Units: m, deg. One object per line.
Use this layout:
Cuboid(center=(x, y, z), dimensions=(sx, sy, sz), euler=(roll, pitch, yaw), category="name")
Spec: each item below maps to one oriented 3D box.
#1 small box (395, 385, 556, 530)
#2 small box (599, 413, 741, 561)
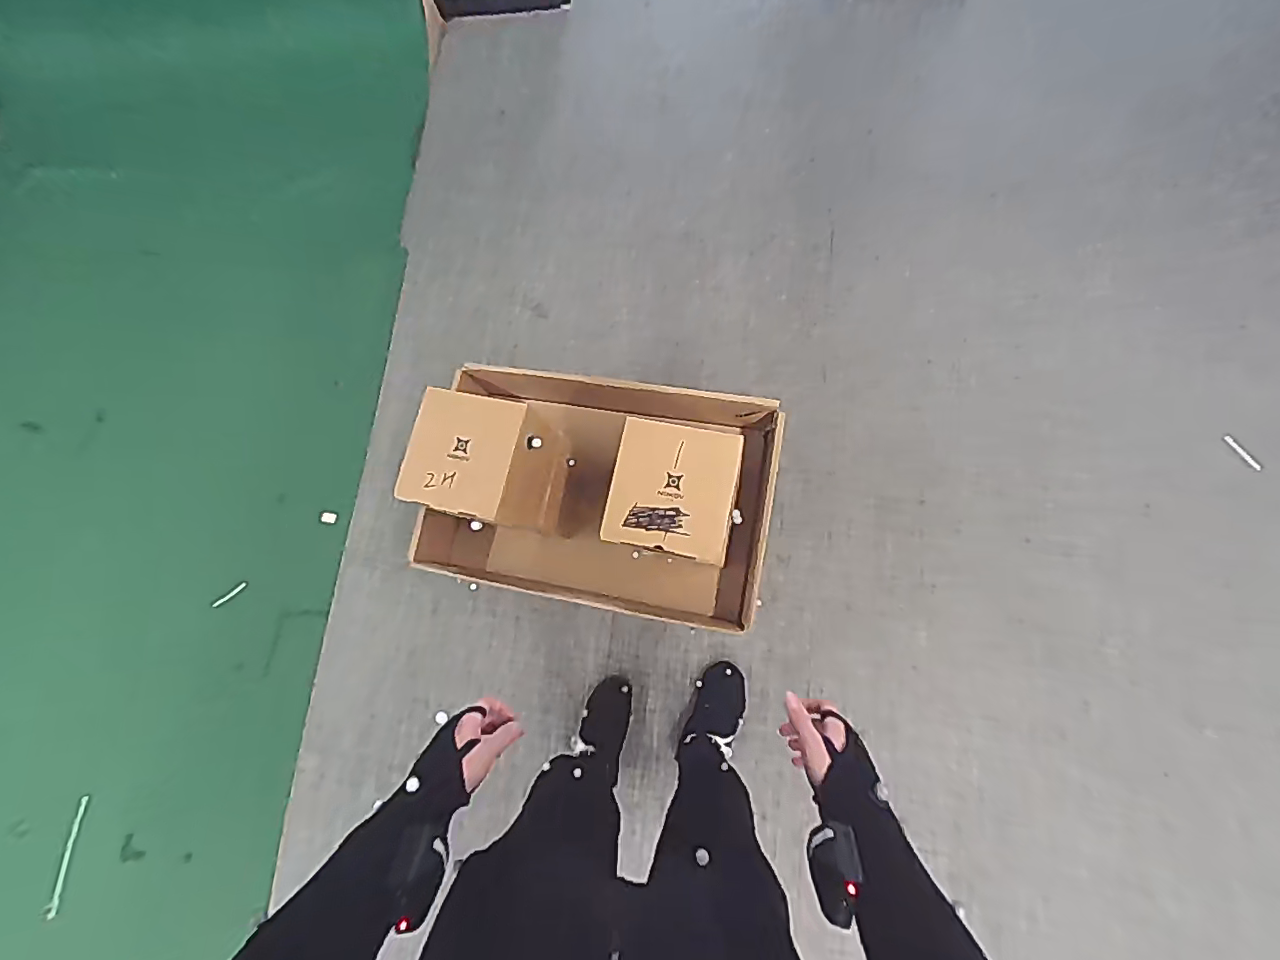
Cuboid(center=(-0.245, -0.029, 0.854), dimensions=(0.168, 0.176, 0.179), euler=(11, 81, 12), category="small box")
Cuboid(center=(0.052, 0.019, 0.797), dimensions=(0.168, 0.176, 0.179), euler=(10, 81, 11), category="small box")
